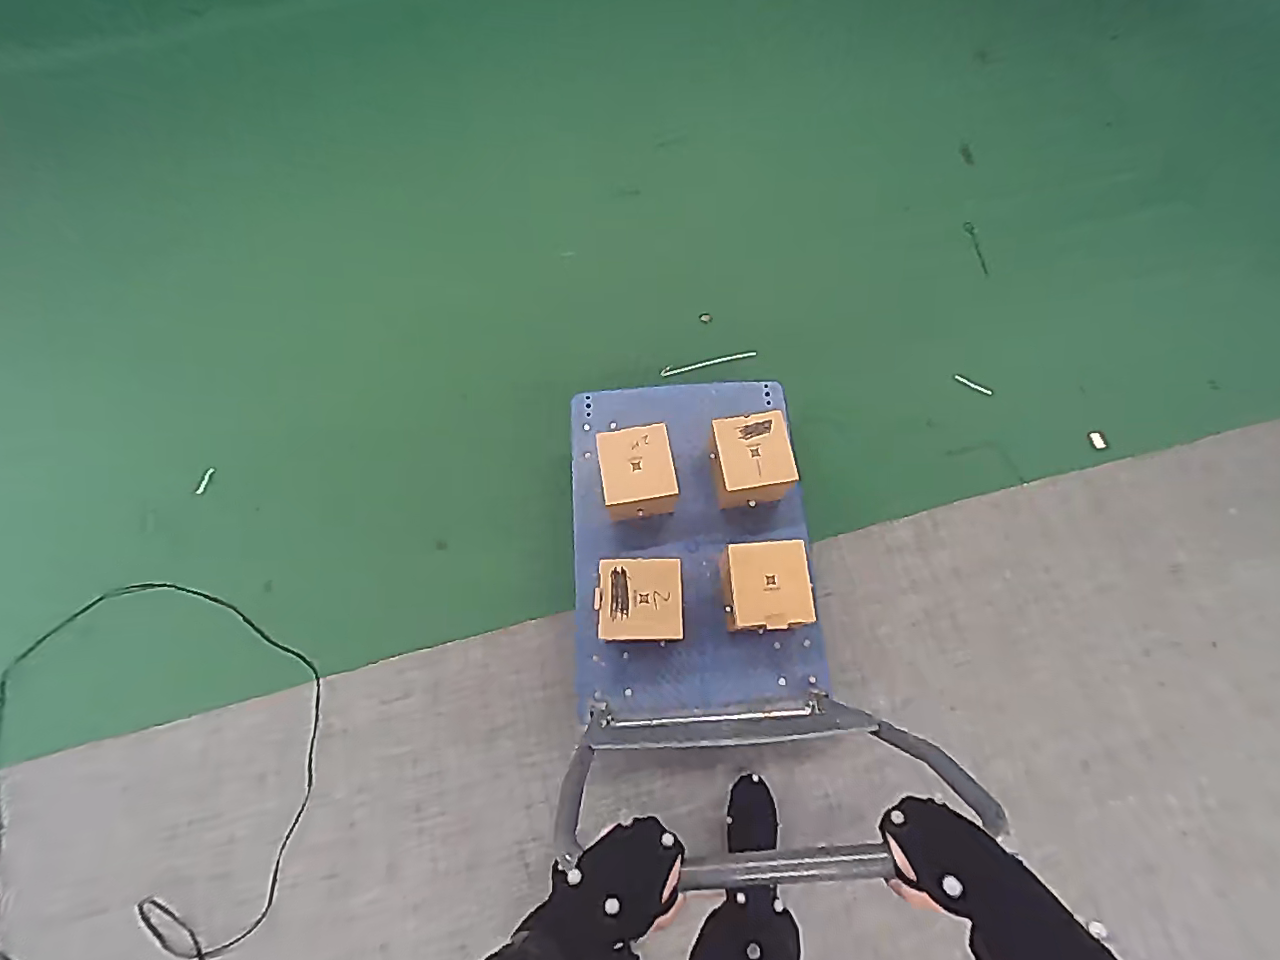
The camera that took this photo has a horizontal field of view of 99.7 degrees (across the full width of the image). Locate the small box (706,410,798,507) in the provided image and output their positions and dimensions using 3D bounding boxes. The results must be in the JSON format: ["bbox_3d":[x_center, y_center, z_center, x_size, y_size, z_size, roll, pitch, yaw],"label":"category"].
[{"bbox_3d":[0.260,-0.048,1.297,0.168,0.176,0.179,-8,74,-2],"label":"small box"}]

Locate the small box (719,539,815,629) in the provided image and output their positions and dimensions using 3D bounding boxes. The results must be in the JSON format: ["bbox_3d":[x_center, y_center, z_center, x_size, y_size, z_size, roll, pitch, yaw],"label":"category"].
[{"bbox_3d":[0.275,0.237,1.212,0.168,0.176,0.179,-4,73,-1],"label":"small box"}]

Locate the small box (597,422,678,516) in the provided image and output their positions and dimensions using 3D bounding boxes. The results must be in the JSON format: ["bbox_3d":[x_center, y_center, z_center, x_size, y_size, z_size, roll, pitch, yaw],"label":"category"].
[{"bbox_3d":[-0.007,-0.018,1.288,0.168,0.176,0.179,-8,74,-4],"label":"small box"}]
